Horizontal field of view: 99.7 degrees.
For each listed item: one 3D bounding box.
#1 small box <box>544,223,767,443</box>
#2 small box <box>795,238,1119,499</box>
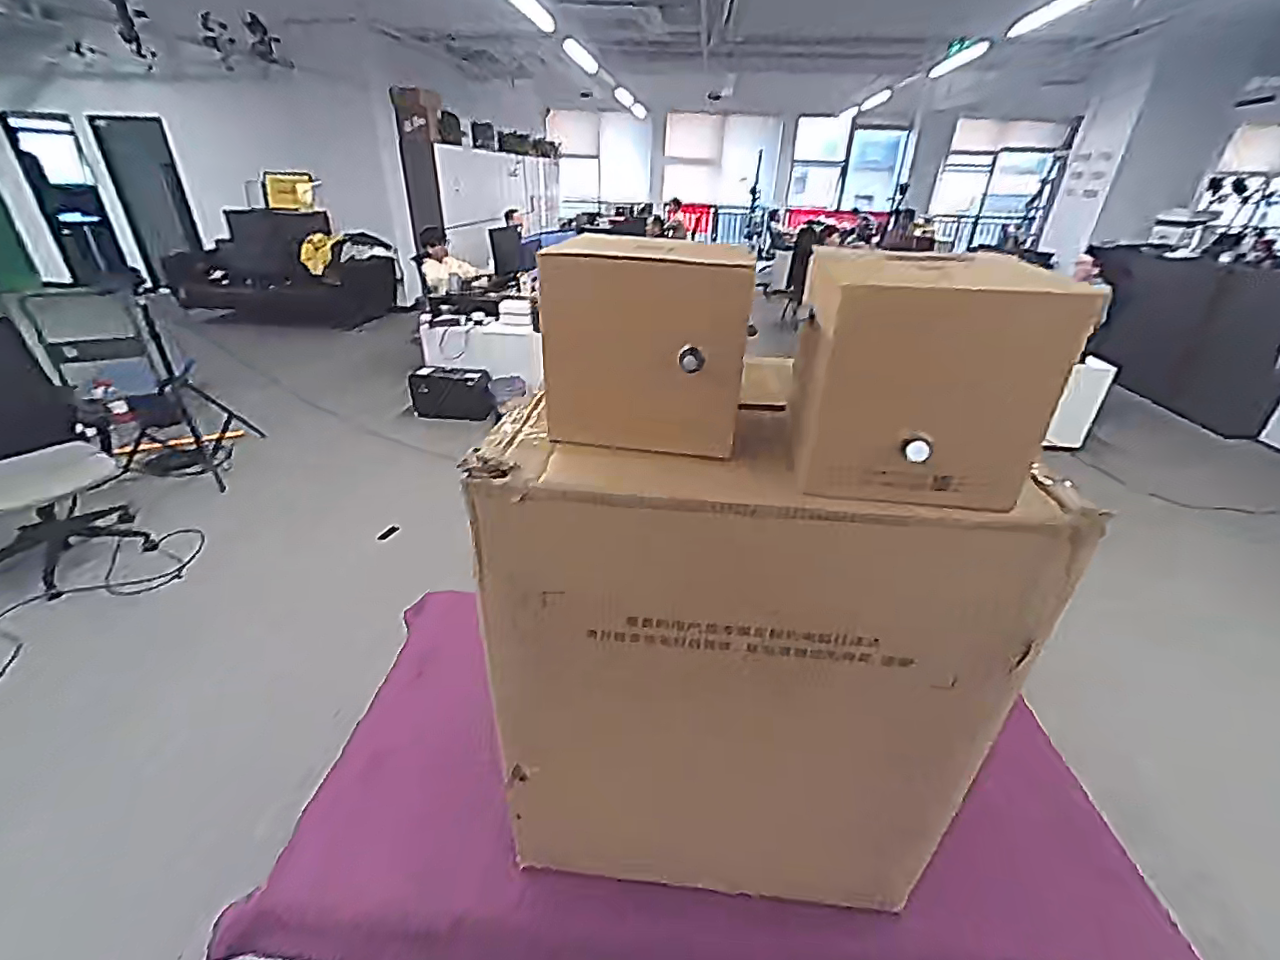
[{"bbox_3d":[0.019,-0.146,0.521,0.179,0.176,0.168,6,29,6],"label":"small box"},{"bbox_3d":[0.233,-0.103,0.460,0.168,0.176,0.179,5,30,8],"label":"small box"}]
